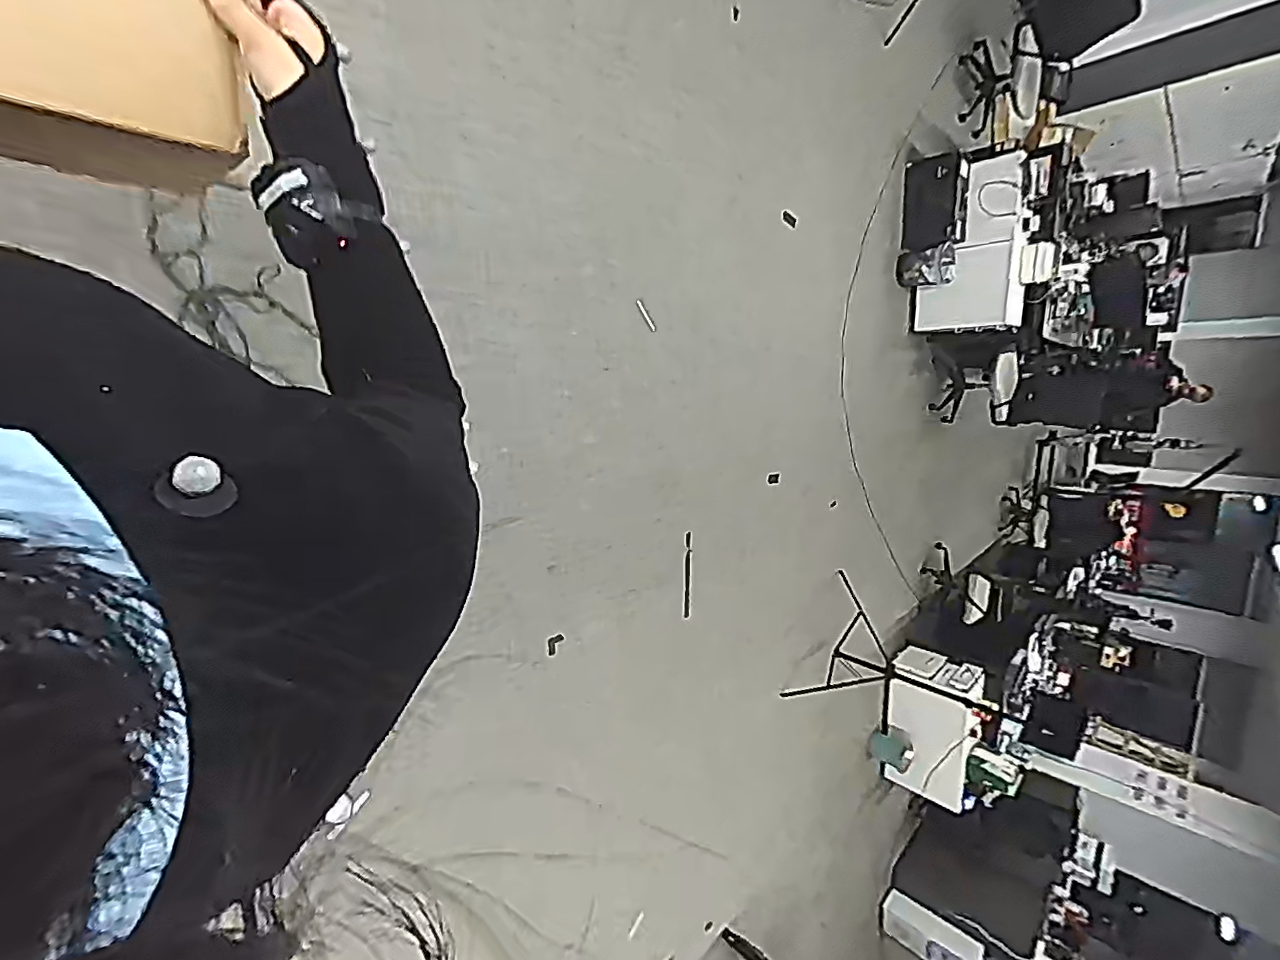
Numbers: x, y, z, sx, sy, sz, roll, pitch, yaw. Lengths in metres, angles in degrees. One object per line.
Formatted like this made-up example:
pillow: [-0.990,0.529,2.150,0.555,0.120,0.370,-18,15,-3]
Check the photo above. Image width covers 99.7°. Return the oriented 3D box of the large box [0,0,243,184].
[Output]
large box: [-0.551,-0.423,0.360,0.408,0.320,0.320,-10,110,-43]
